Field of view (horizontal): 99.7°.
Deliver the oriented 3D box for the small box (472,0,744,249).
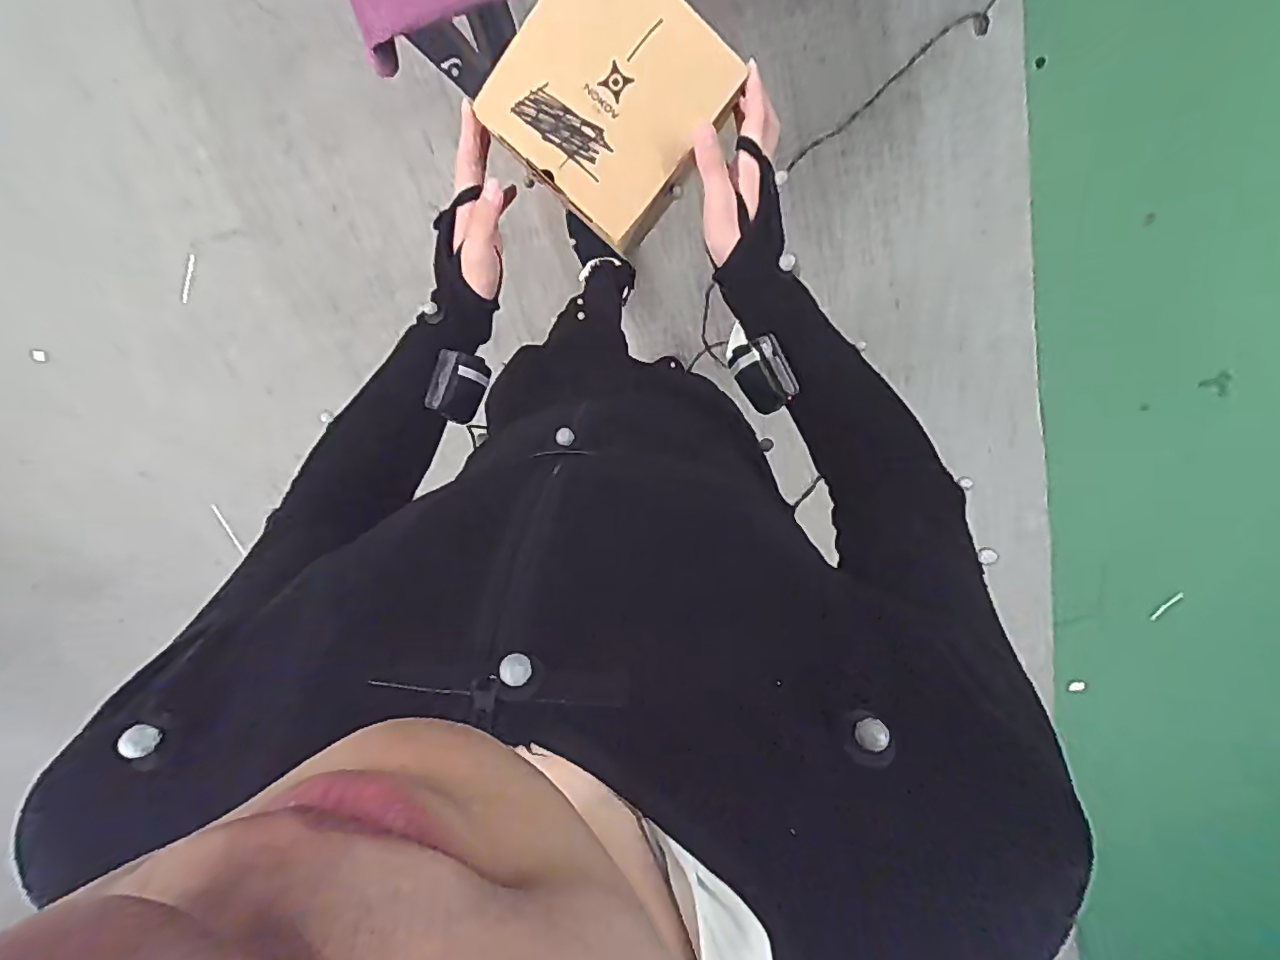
[{"bbox_3d":[-0.025,-0.352,0.526,0.168,0.176,0.179,39,104,-10],"label":"small box"}]
